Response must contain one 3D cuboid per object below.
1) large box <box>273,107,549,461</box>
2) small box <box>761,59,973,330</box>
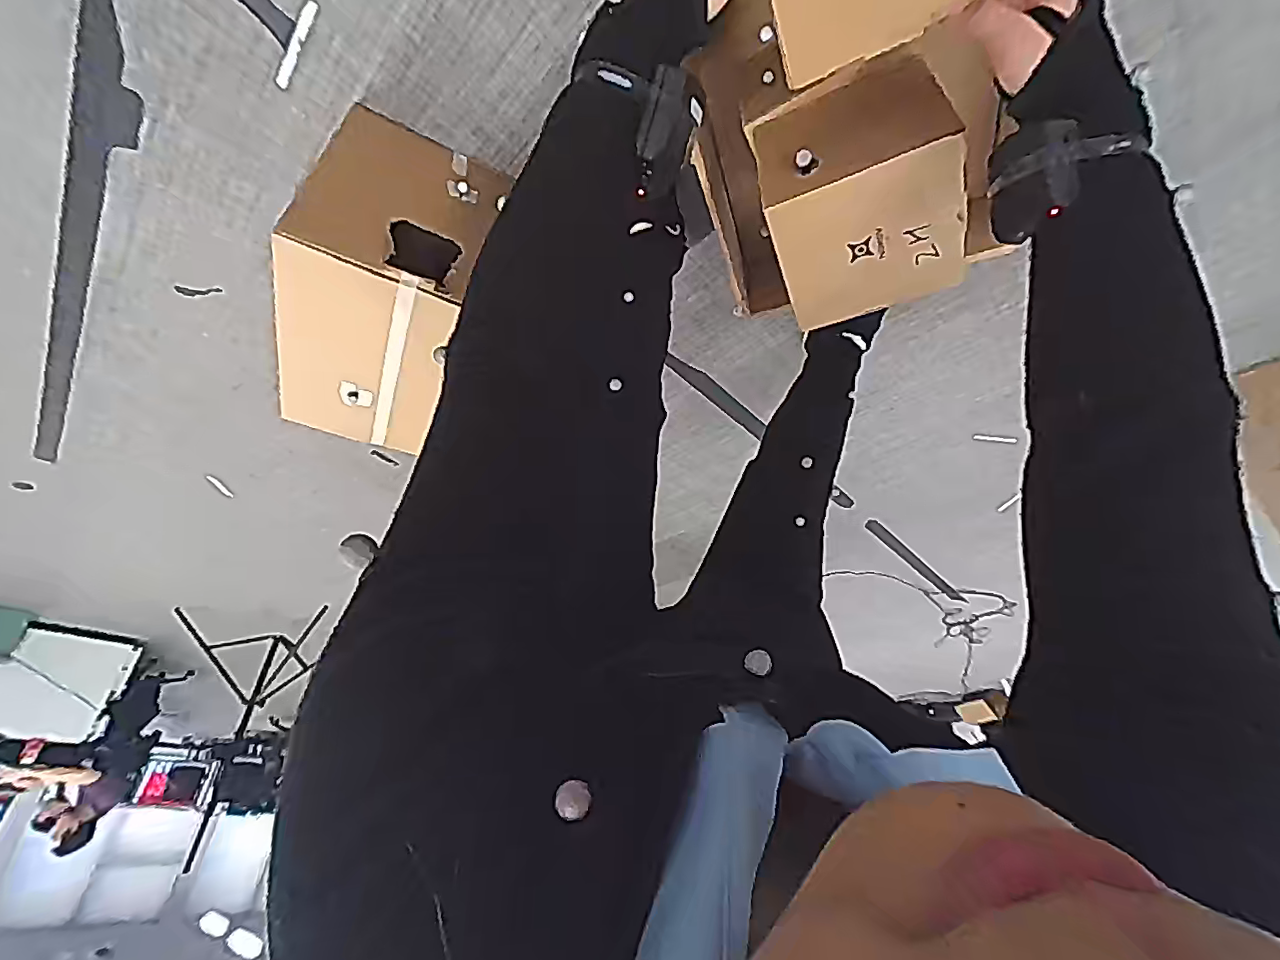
[{"bbox_3d":[-0.371,-0.290,0.906,0.320,0.320,0.408,17,146,-22],"label":"large box"},{"bbox_3d":[0.234,-0.299,0.581,0.179,0.176,0.168,-13,143,22],"label":"small box"}]
